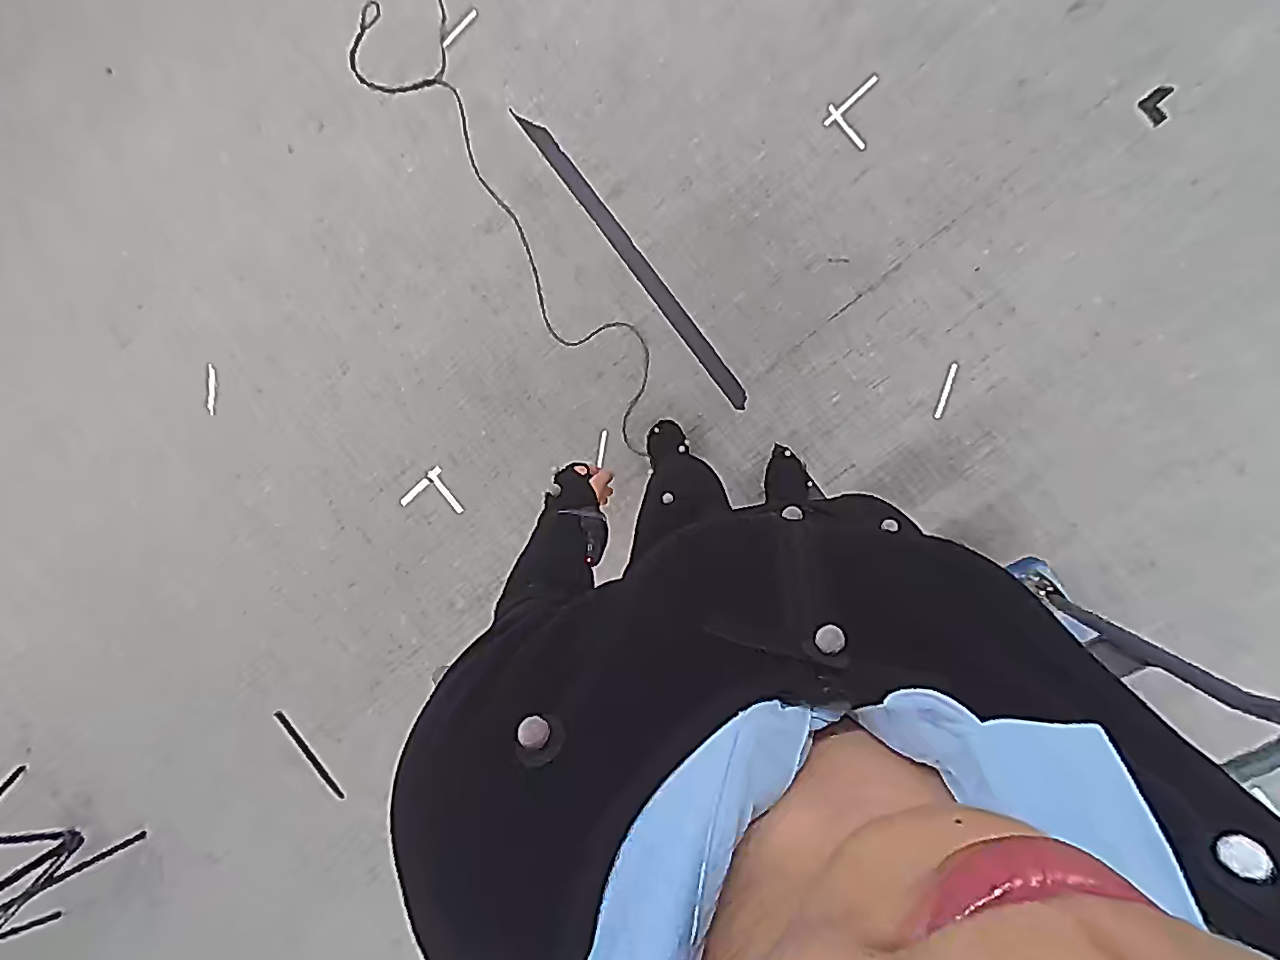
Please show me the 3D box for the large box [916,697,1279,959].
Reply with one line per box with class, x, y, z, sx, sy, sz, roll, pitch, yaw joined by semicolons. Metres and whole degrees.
large box;0.860;0.718;1.086;0.408;0.320;0.320;-32;89;11
